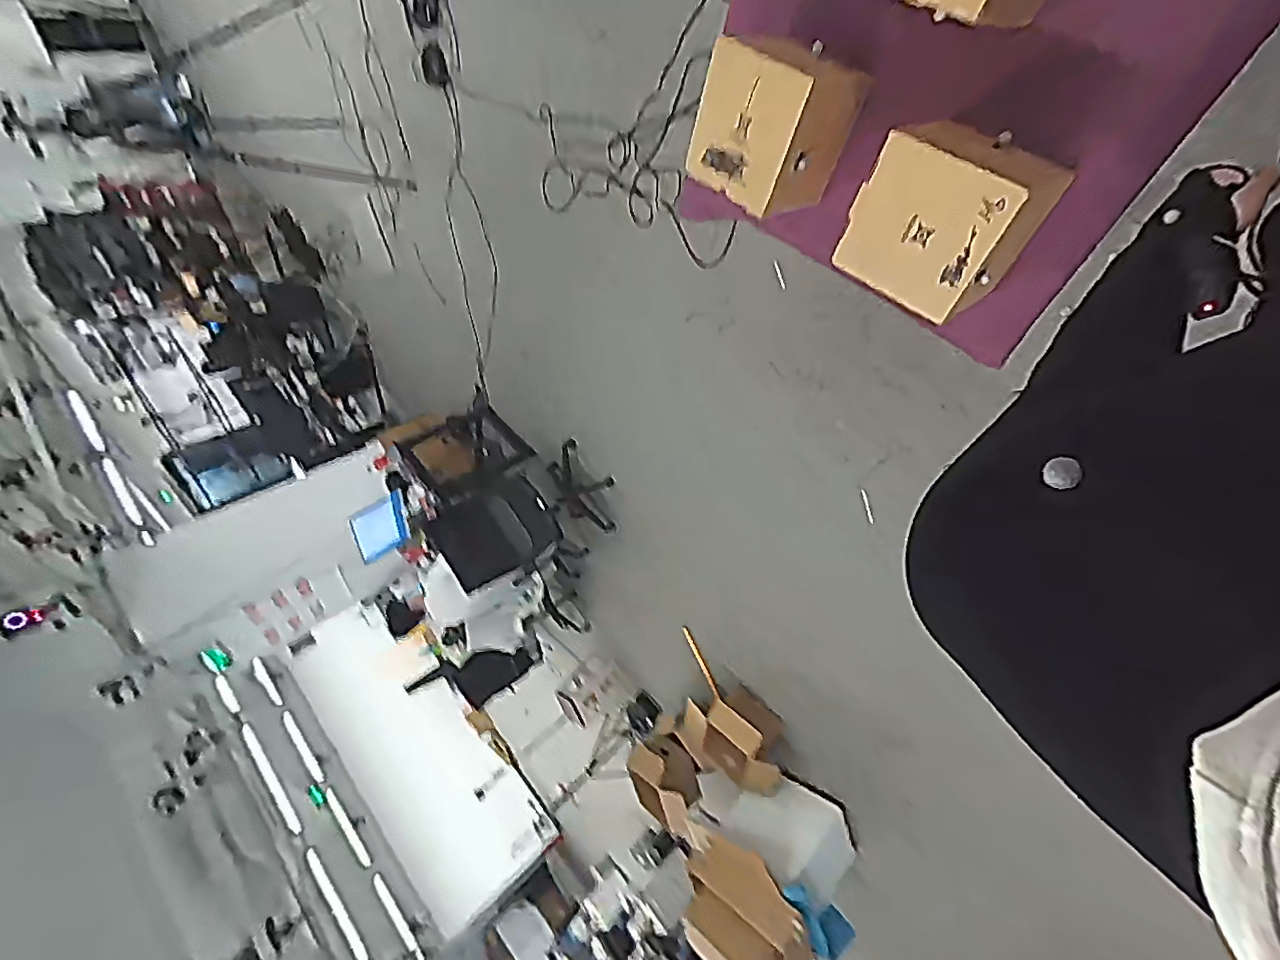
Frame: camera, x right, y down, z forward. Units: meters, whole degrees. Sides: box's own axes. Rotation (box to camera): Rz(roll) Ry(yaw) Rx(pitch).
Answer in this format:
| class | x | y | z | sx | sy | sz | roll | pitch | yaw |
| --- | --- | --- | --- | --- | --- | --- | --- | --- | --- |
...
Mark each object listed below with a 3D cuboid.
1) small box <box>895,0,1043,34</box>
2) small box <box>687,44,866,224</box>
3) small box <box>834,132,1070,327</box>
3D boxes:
| class | x | y | z | sx | sy | sz | roll | pitch | yaw |
| --- | --- | --- | --- | --- | --- | --- | --- | --- | --- |
| small box | 0.354 | -0.590 | 0.550 | 0.168 | 0.176 | 0.179 | 44 | 144 | 21 |
| small box | 0.202 | -0.518 | 0.809 | 0.168 | 0.176 | 0.179 | 43 | 143 | 21 |
| small box | 0.398 | -0.331 | 0.703 | 0.179 | 0.176 | 0.168 | 44 | 145 | 24 |
